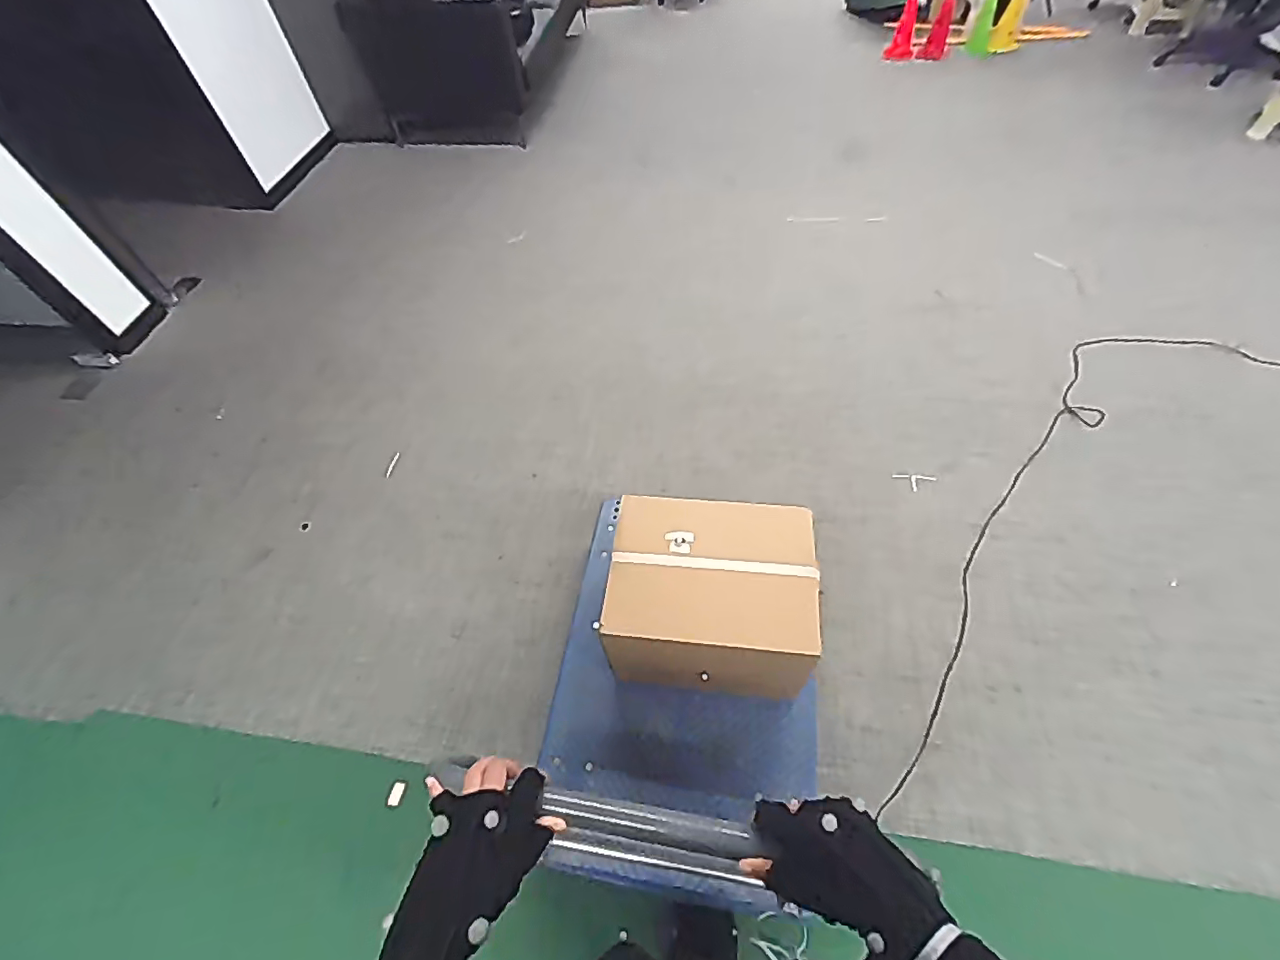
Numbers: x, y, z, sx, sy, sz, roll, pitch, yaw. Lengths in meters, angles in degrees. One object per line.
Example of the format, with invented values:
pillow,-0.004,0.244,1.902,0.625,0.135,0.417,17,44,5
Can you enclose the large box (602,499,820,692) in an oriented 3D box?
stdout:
large box,0.155,0.259,1.193,0.408,0.320,0.320,3,54,8
